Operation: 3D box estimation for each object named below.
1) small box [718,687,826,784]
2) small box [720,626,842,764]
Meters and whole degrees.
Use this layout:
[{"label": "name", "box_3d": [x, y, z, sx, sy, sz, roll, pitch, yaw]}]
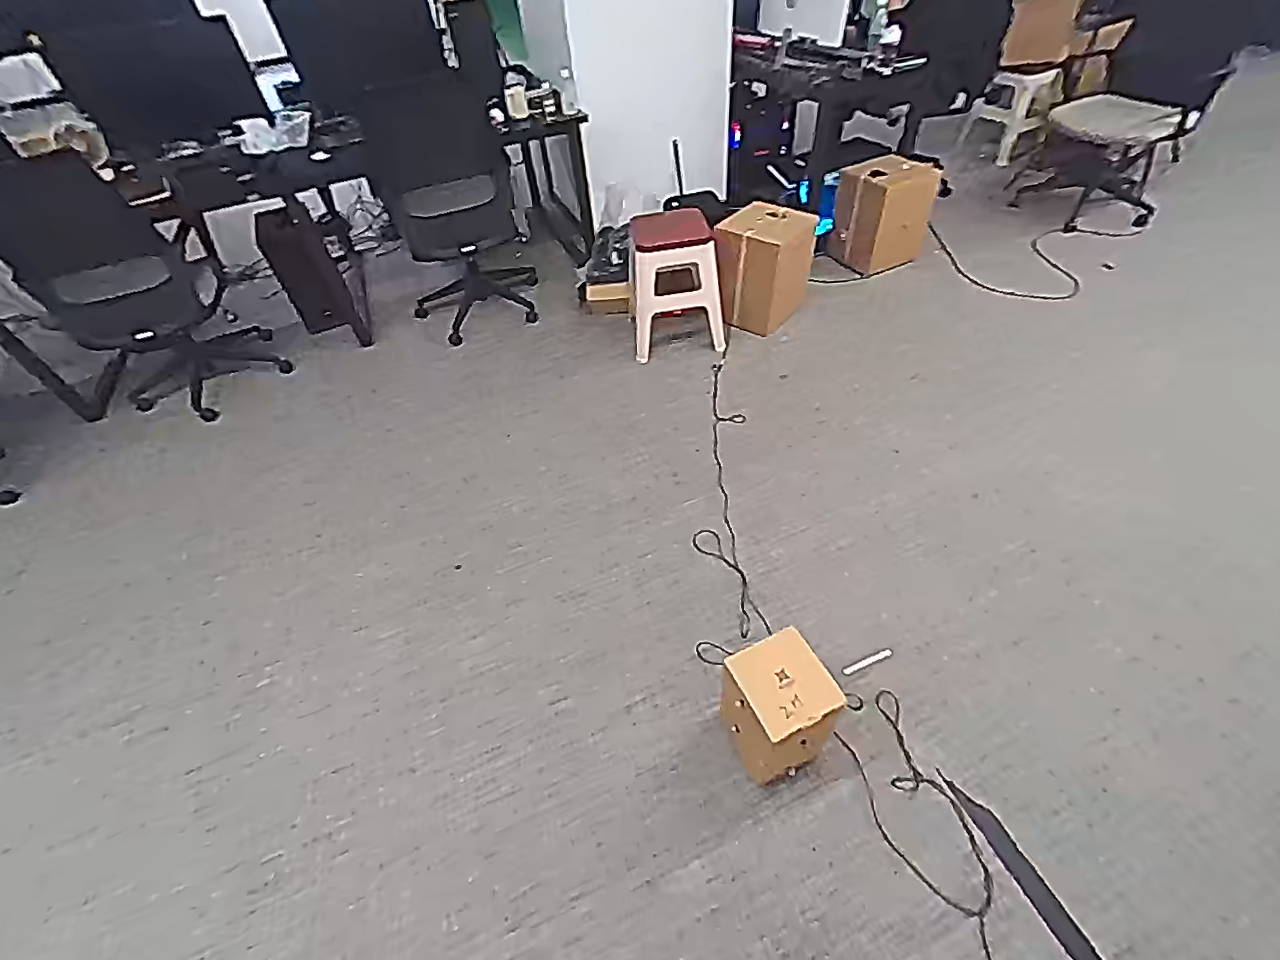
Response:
[{"label": "small box", "box_3d": [0.284, 0.544, 1.210, 0.168, 0.176, 0.179, -21, 50, -12]}, {"label": "small box", "box_3d": [0.272, 0.434, 1.088, 0.168, 0.176, 0.179, -22, 50, -12]}]
